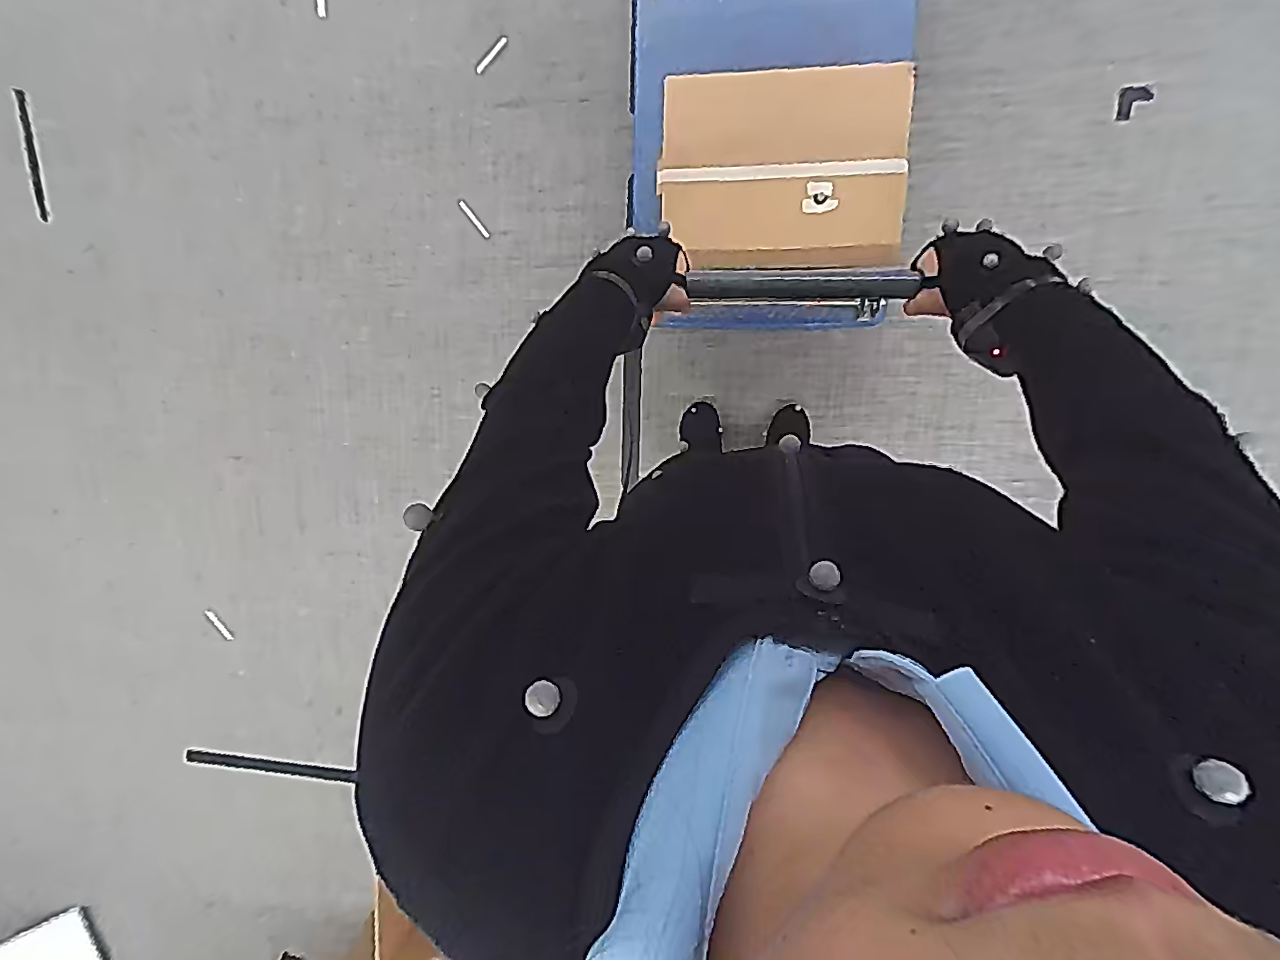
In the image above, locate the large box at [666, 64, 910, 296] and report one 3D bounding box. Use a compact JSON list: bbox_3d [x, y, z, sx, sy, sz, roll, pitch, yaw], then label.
[{"bbox_3d":[0.260,-0.554,1.073,0.408,0.320,0.320,2,101,7],"label":"large box"}]
